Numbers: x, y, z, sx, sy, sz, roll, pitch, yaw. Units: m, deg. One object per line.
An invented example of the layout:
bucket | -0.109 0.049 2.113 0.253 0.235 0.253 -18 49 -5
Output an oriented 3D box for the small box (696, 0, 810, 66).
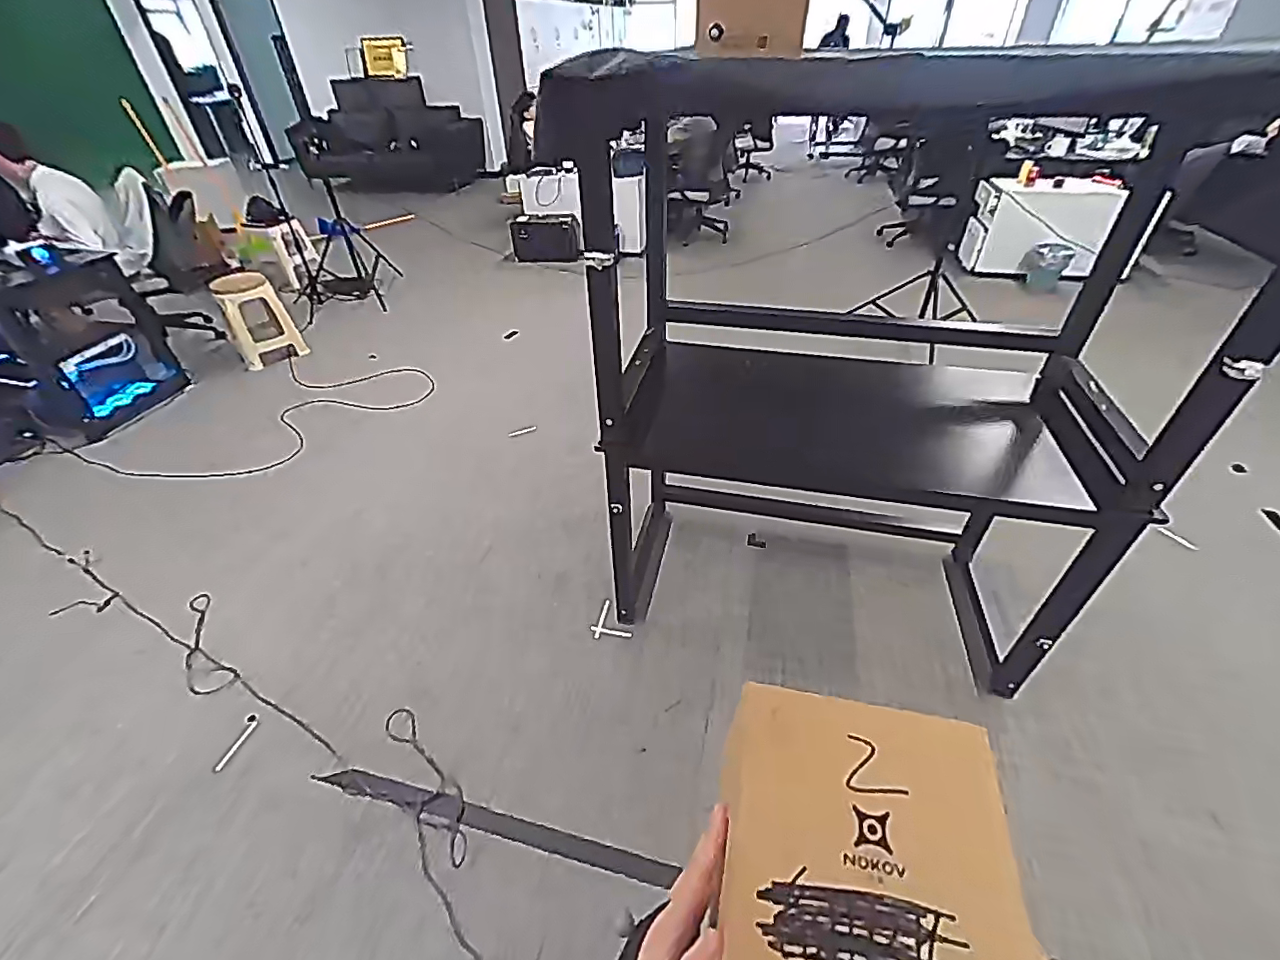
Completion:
small box | 0.180 -0.753 0.838 0.168 0.176 0.179 7 38 8
